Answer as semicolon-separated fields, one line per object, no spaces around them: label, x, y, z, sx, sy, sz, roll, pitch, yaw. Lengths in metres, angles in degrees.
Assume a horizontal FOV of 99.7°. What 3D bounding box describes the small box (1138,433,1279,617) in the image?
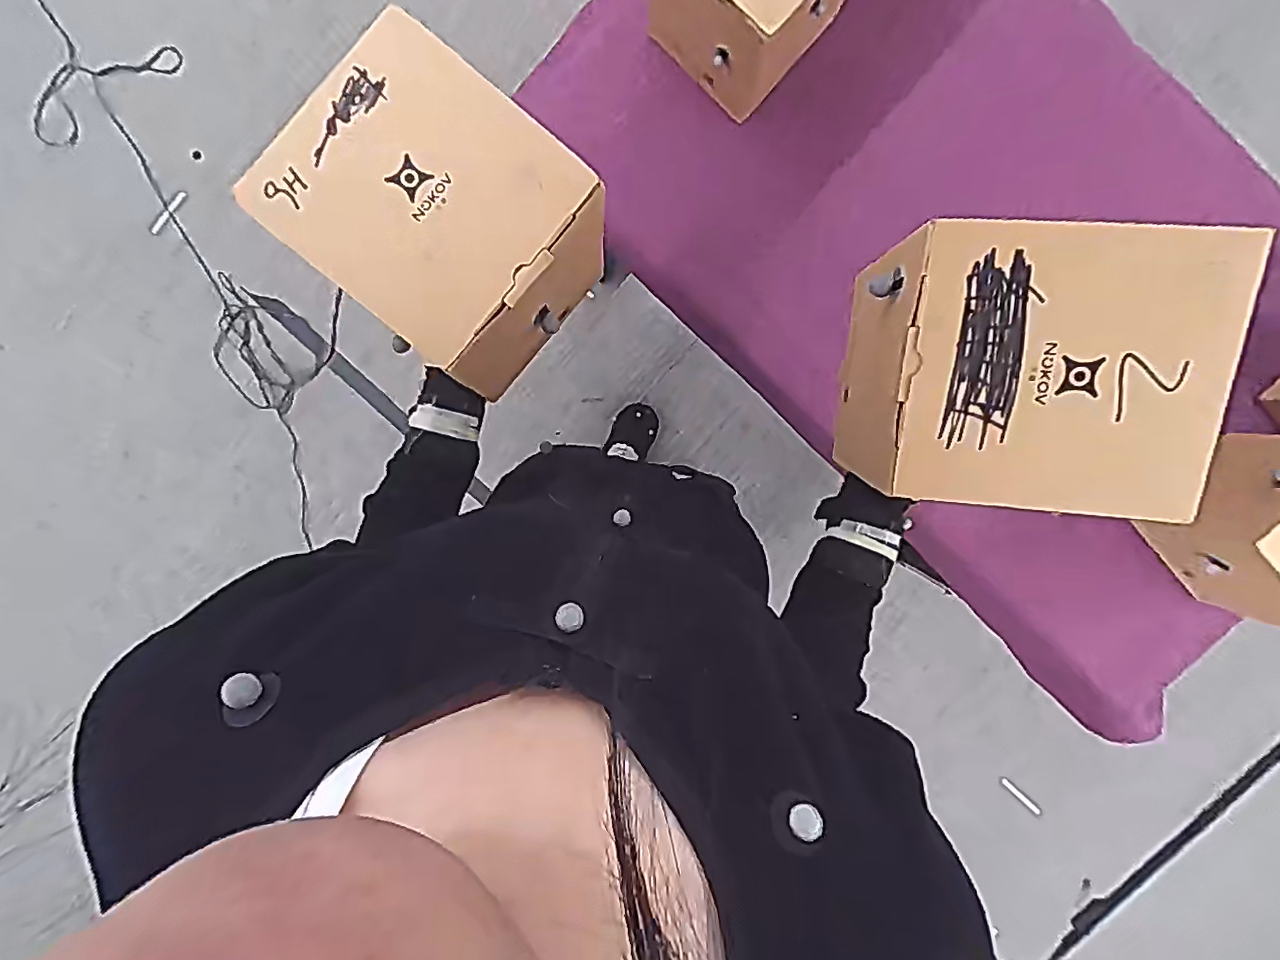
small box;0.790;0.058;0.677;0.179;0.176;0.168;-42;94;4

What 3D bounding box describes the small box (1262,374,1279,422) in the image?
small box;0.941;-0.104;0.648;0.179;0.176;0.168;43;97;-5

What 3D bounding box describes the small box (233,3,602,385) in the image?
small box;-0.147;-0.192;0.428;0.179;0.176;0.168;38;88;-5
